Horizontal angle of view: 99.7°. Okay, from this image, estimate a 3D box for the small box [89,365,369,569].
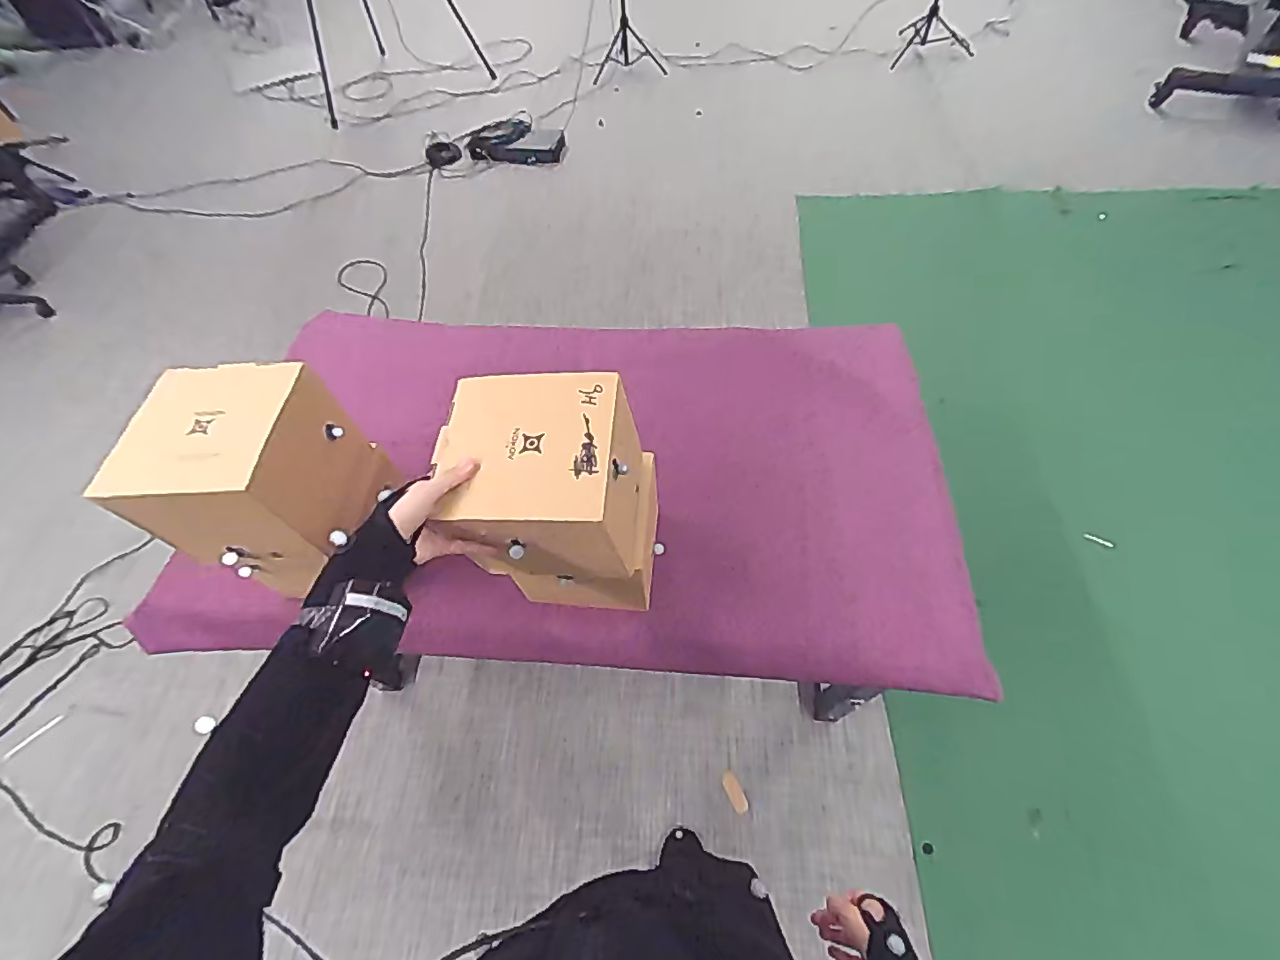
[{"bbox_3d":[-0.446,-0.012,0.629,0.168,0.176,0.179,-2,57,3],"label":"small box"}]

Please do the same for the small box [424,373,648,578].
[{"bbox_3d":[-0.095,0.003,0.587,0.179,0.176,0.168,0,63,10],"label":"small box"}]

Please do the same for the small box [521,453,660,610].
[{"bbox_3d":[-0.067,0.072,0.743,0.179,0.176,0.168,4,60,5],"label":"small box"}]
